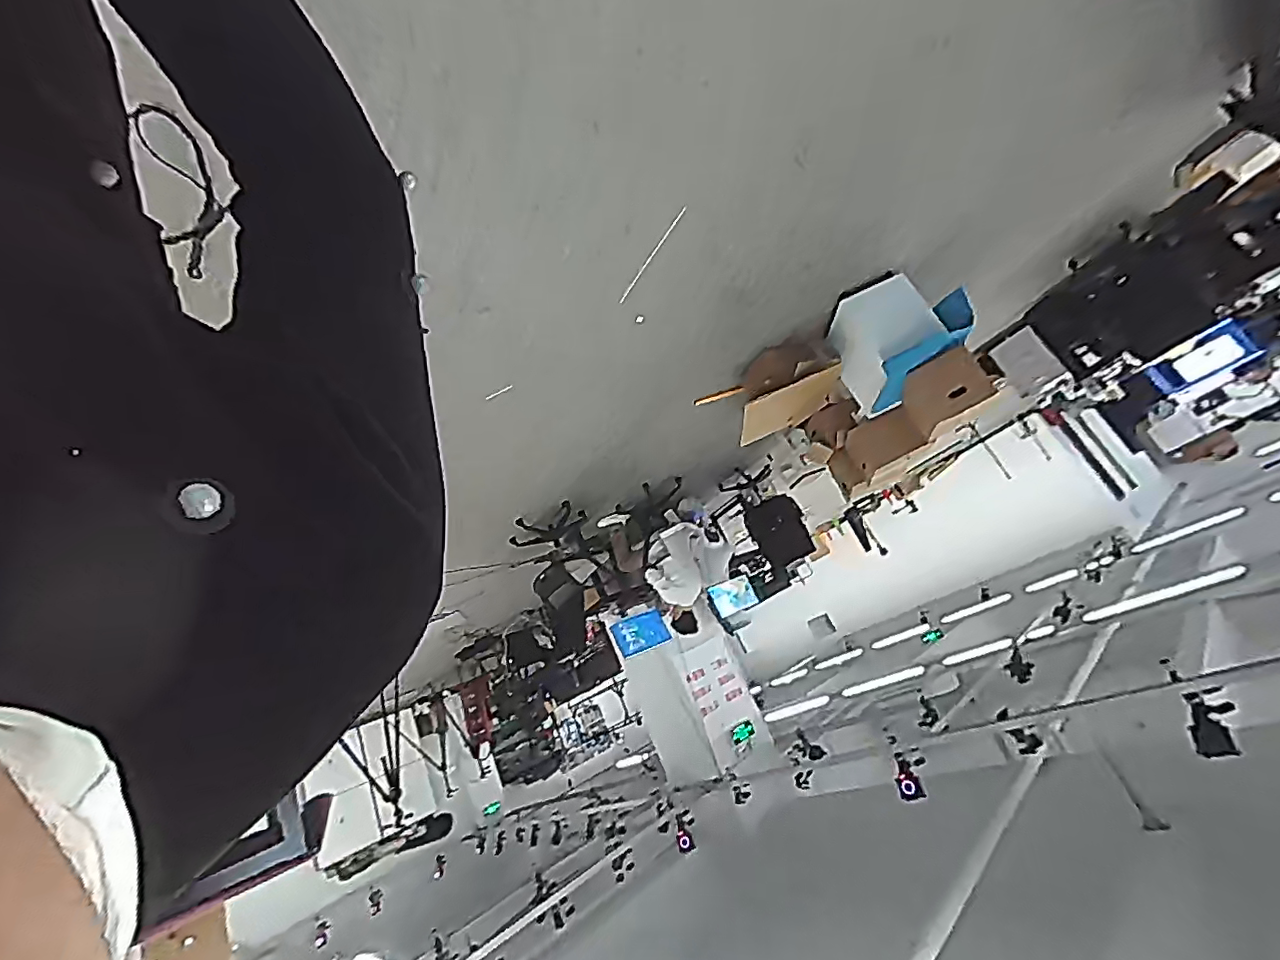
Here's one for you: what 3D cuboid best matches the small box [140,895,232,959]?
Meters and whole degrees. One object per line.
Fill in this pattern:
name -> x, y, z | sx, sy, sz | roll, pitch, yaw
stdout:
small box -> -1.163, 1.206, 1.392 | 0.168, 0.176, 0.179 | -9, 156, -40
